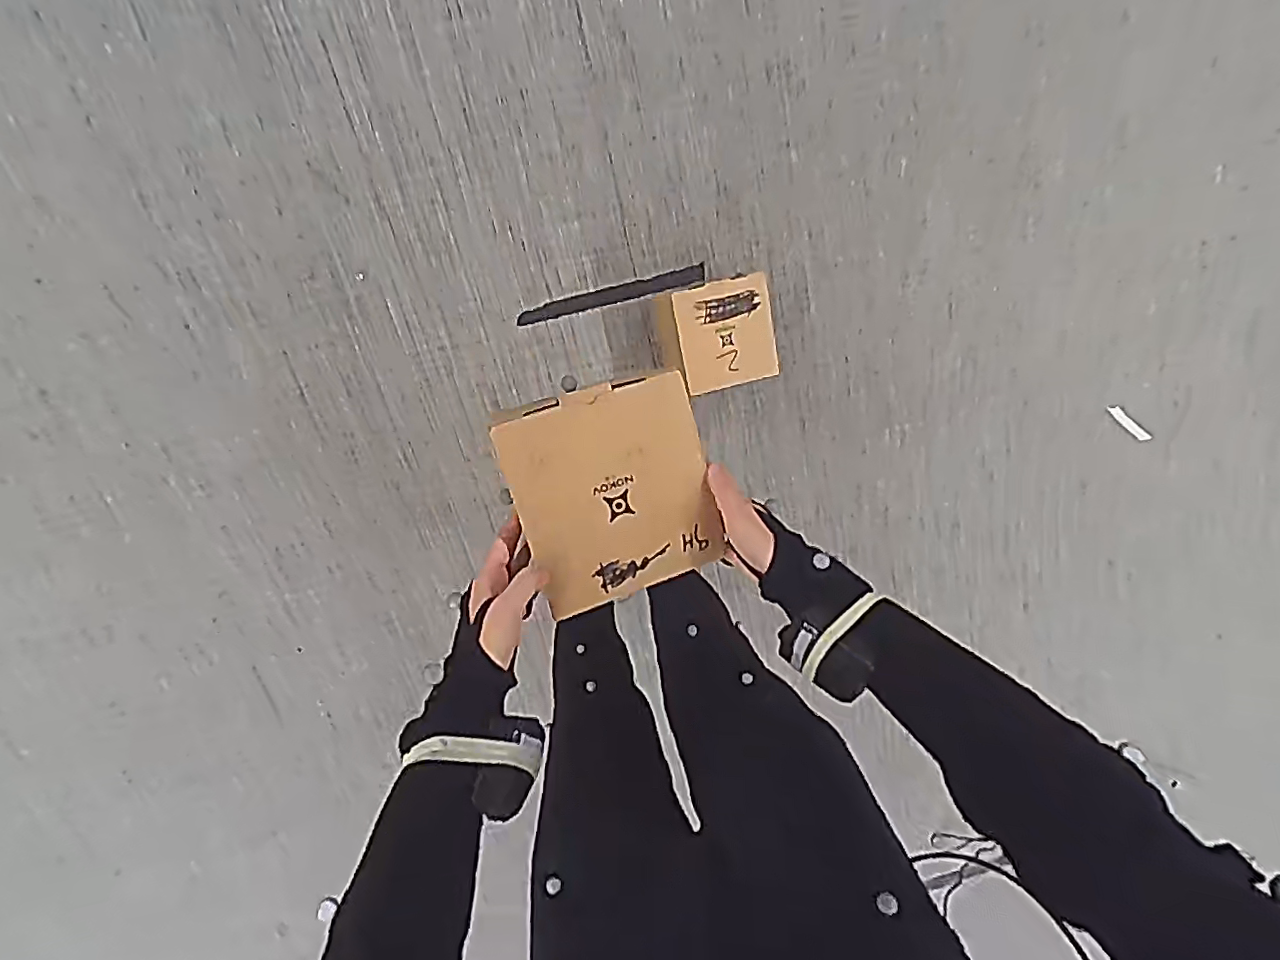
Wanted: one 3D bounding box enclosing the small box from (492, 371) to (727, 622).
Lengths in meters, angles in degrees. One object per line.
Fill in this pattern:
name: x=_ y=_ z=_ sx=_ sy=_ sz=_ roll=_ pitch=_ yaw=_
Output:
small box: x=-0.040 y=0.005 z=0.528 sx=0.168 sy=0.176 sz=0.179 roll=-19 pitch=102 yaw=-11
